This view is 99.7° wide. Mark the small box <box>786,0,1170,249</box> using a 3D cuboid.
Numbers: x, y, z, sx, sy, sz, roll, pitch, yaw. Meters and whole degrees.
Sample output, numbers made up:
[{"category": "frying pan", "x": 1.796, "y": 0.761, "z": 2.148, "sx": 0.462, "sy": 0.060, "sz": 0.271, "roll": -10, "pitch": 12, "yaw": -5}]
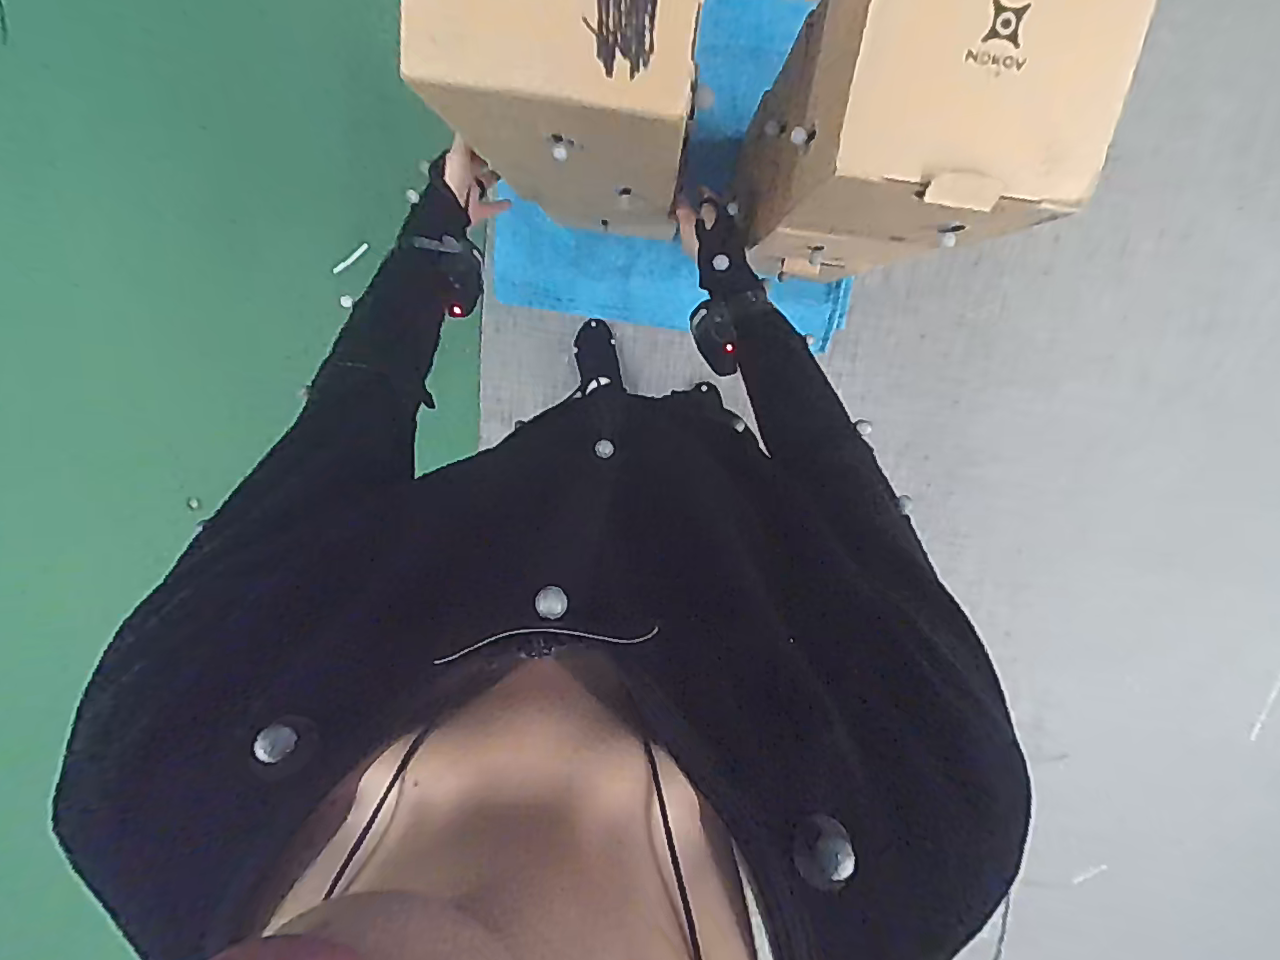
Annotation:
[{"category": "small box", "x": 0.216, "y": -0.279, "z": 0.390, "sx": 0.168, "sy": 0.176, "sz": 0.179, "roll": 8, "pitch": 104, "yaw": -2}]

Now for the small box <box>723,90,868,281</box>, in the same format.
[{"category": "small box", "x": 0.209, "y": -0.363, "z": 0.704, "sx": 0.168, "sy": 0.176, "sz": 0.179, "roll": 8, "pitch": 106, "yaw": -2}]

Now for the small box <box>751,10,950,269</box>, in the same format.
[{"category": "small box", "x": 0.216, "y": -0.319, "z": 0.548, "sx": 0.168, "sy": 0.176, "sz": 0.179, "roll": 6, "pitch": 105, "yaw": -1}]
